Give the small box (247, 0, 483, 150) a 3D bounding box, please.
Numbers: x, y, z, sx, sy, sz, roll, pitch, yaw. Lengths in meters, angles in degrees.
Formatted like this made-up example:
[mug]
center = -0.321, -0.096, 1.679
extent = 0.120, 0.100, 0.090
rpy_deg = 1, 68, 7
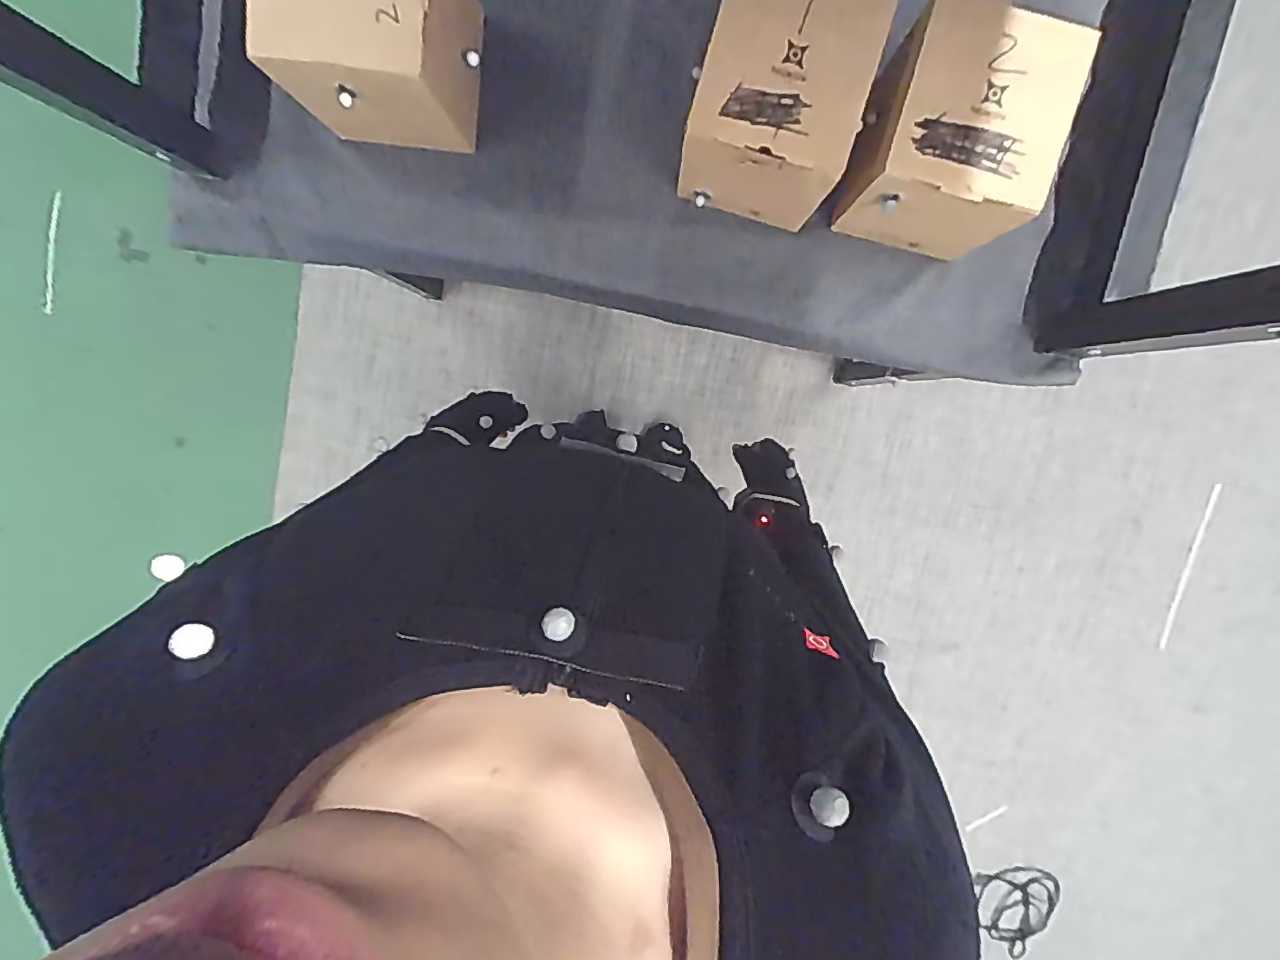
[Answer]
[small box]
center = -0.292, -0.498, 0.603
extent = 0.179, 0.176, 0.168
rpy_deg = 7, 98, -1
